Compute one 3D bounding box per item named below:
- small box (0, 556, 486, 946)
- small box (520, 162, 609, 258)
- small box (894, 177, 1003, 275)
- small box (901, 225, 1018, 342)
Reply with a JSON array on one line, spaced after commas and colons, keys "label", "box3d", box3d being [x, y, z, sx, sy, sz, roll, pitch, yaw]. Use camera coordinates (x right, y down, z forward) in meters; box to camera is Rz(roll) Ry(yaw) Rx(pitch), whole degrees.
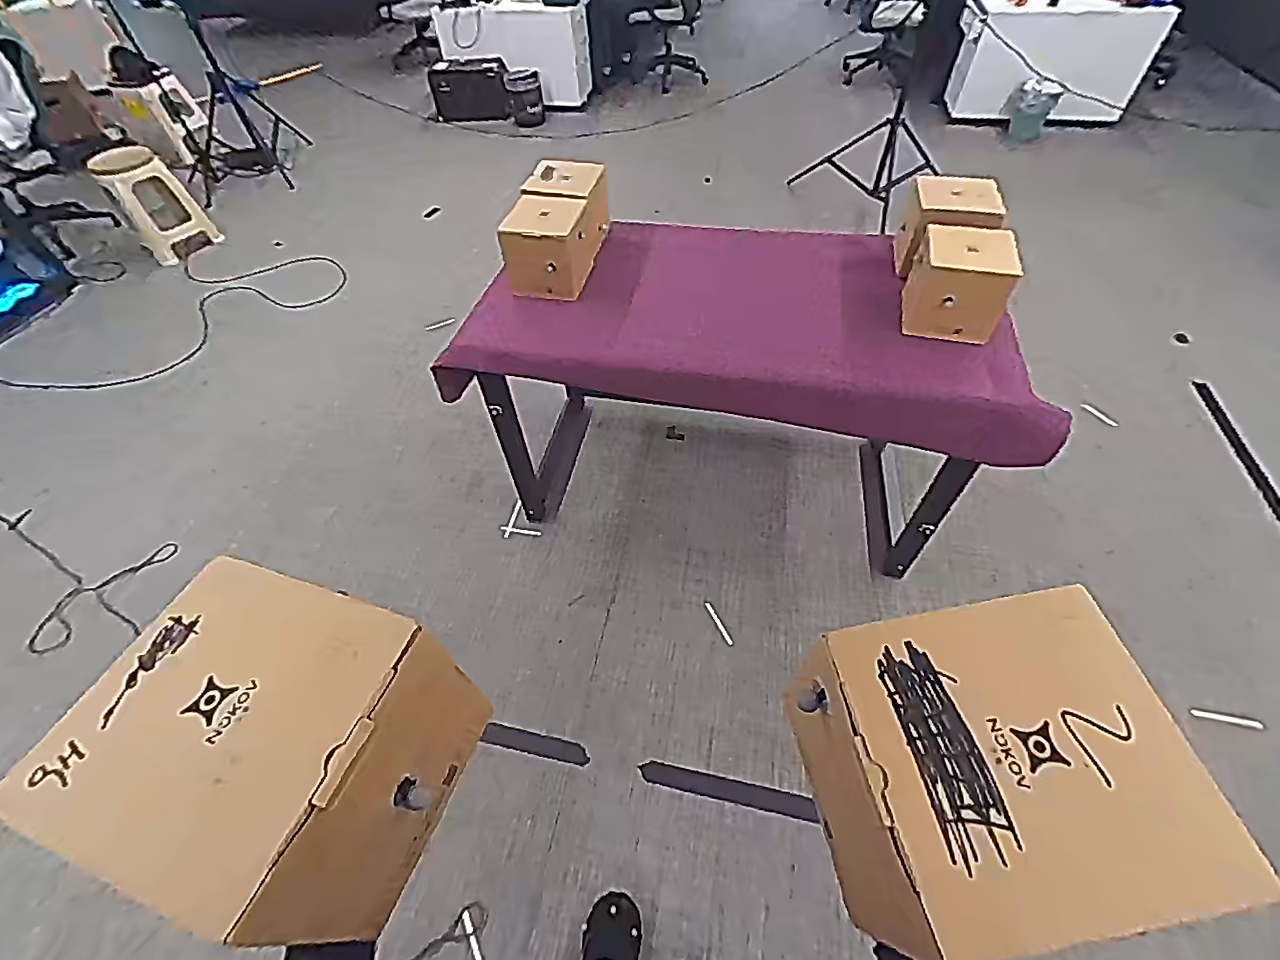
[{"label": "small box", "box3d": [-0.234, 0.183, 0.378, 0.179, 0.176, 0.168, 14, 53, 14]}, {"label": "small box", "box3d": [-0.190, -0.703, 1.415, 0.179, 0.176, 0.168, 10, 55, 9]}, {"label": "small box", "box3d": [0.716, -0.594, 1.283, 0.179, 0.176, 0.168, 9, 54, 9]}, {"label": "small box", "box3d": [0.671, -0.417, 1.154, 0.168, 0.176, 0.179, 11, 52, 13]}]
